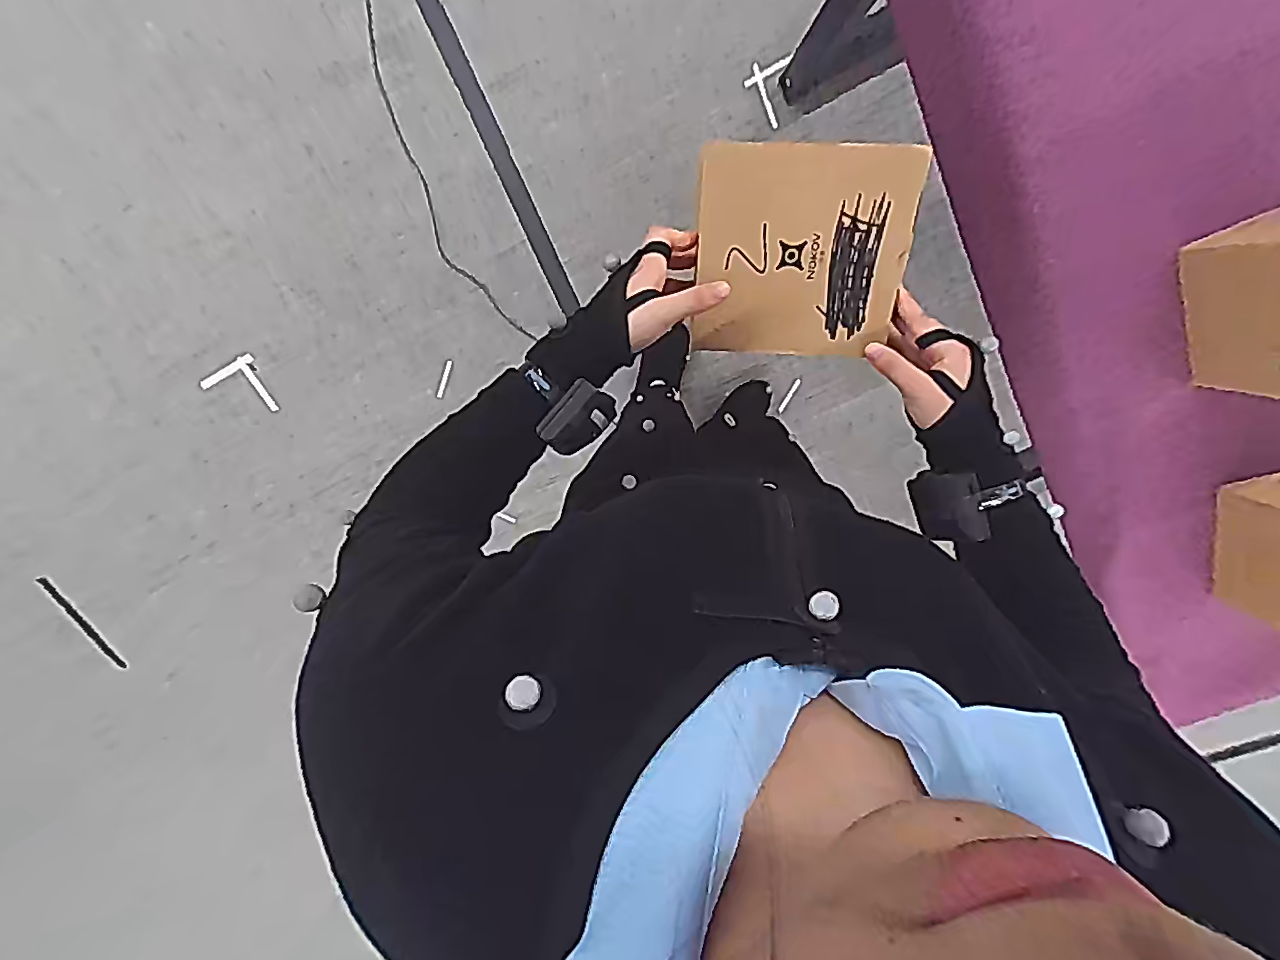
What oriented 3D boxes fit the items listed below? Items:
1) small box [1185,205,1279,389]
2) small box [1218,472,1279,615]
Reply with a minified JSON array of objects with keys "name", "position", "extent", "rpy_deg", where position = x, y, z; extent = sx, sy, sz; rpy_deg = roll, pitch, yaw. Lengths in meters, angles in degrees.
[{"name":"small box","position":[0.739,-0.204,0.569],"extent":[0.168,0.176,0.179],"rpy_deg":[-22,106,7]},{"name":"small box","position":[0.875,0.083,0.661],"extent":[0.168,0.176,0.179],"rpy_deg":[-15,107,6]}]
